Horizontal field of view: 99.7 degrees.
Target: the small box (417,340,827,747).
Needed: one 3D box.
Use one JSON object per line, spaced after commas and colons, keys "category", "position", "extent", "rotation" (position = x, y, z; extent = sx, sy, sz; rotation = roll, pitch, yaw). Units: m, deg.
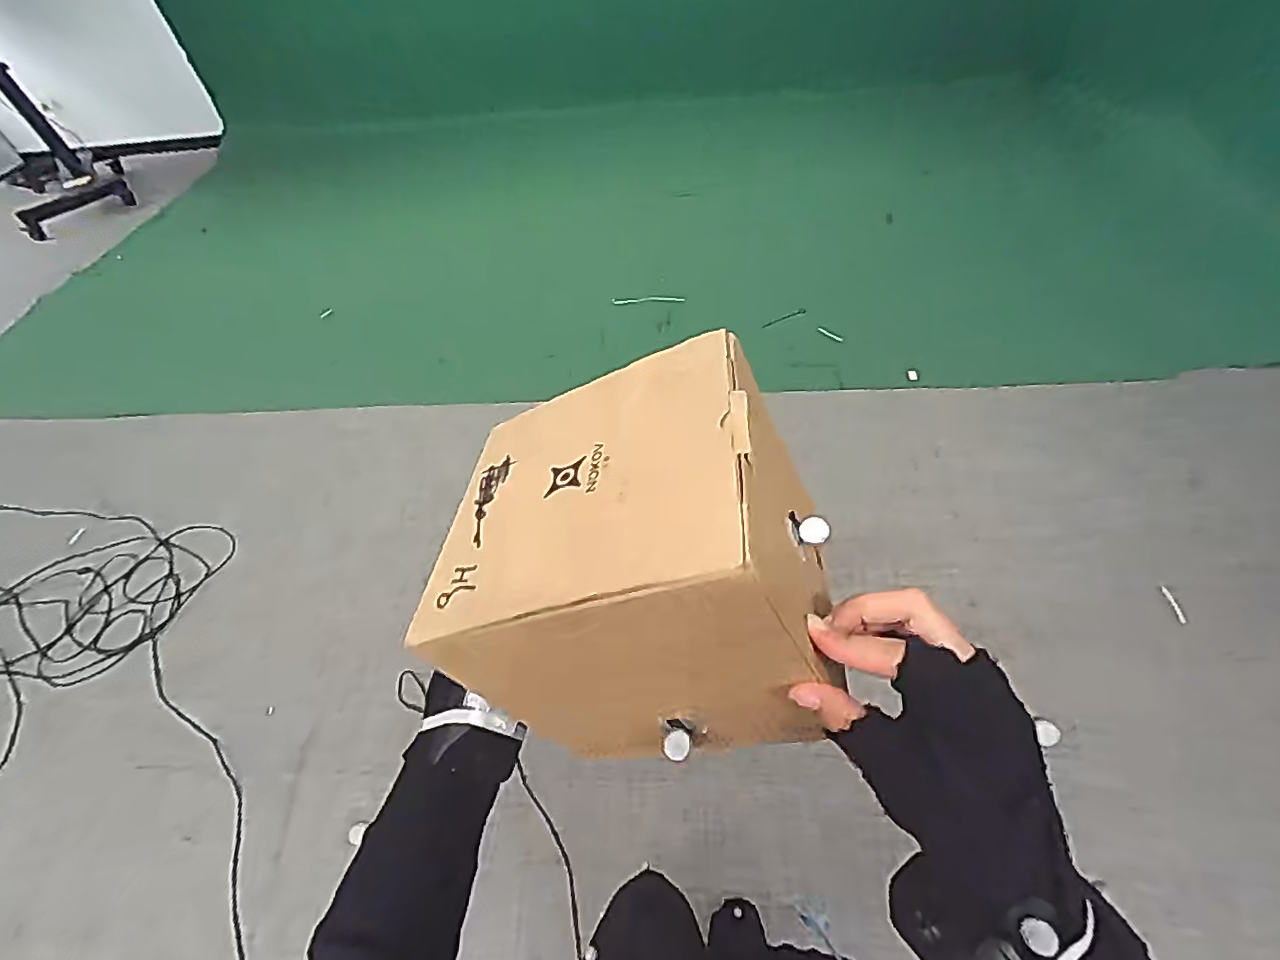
{"category": "small box", "position": [0.007, 0.051, 0.340], "extent": [0.179, 0.176, 0.168], "rotation": [-18, 42, 22]}
